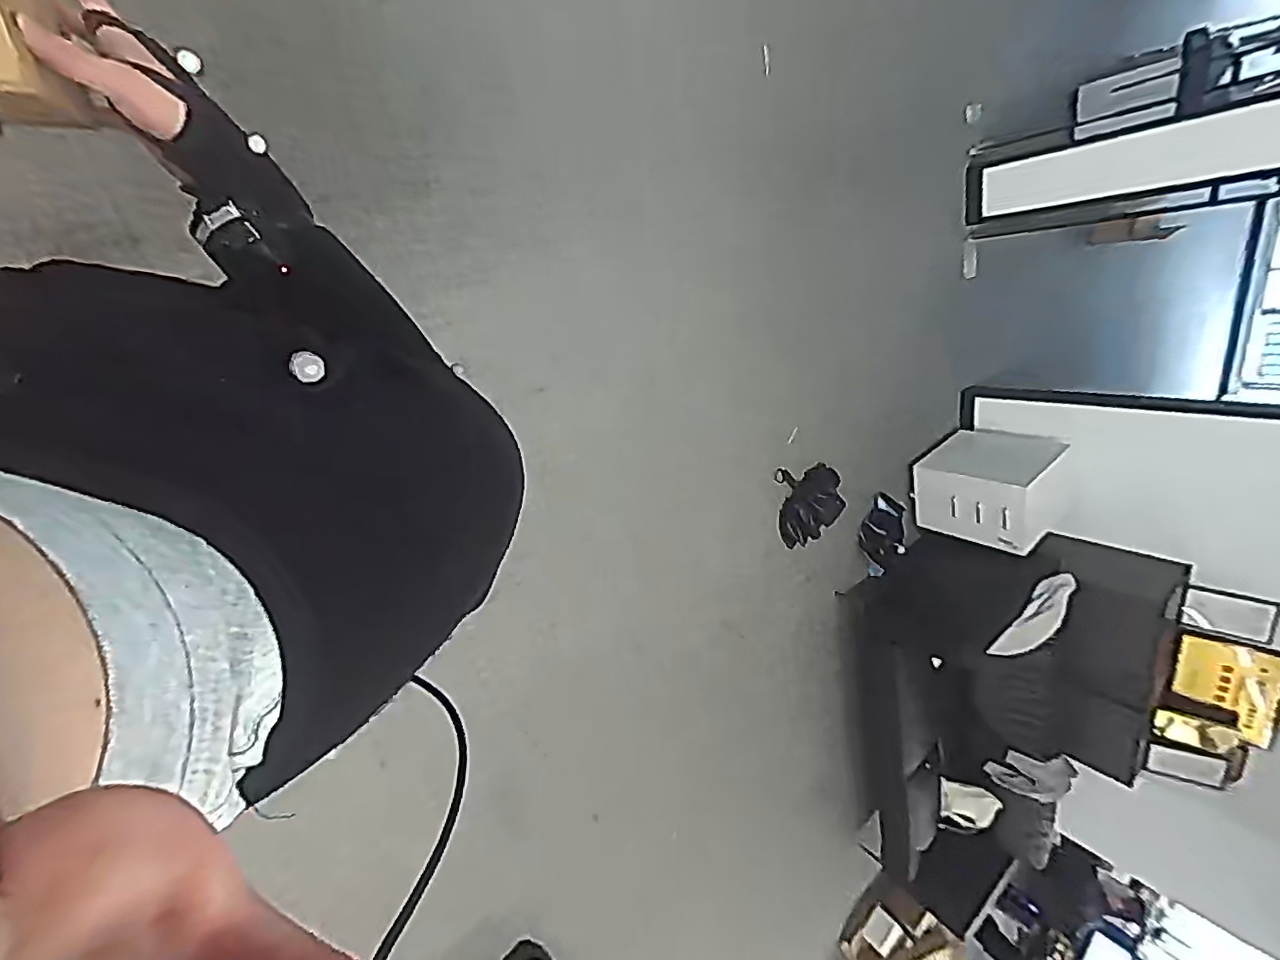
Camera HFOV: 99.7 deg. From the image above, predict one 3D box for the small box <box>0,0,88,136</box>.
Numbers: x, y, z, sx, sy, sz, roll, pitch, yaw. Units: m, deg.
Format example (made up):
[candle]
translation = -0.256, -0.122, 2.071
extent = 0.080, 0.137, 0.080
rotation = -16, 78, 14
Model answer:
[small box]
translation = -0.460, -0.300, 0.294
extent = 0.168, 0.176, 0.179
rotation = -16, 119, -27
